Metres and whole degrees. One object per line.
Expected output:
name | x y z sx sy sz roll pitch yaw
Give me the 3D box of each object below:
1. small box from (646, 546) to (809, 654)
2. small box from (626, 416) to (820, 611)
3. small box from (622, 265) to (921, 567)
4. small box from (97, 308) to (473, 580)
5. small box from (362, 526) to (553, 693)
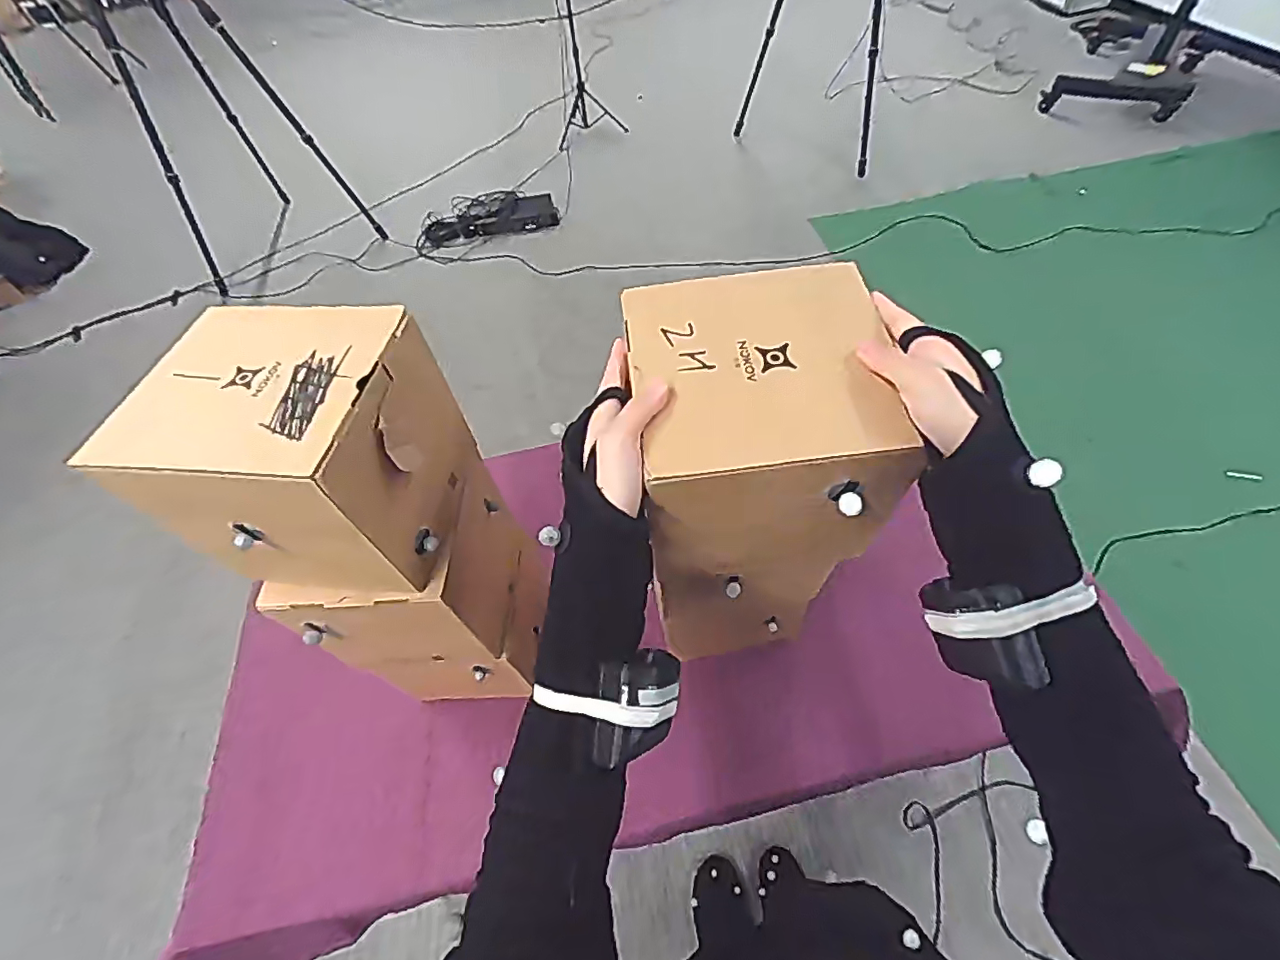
small box | 0.103 0.116 0.730 0.179 0.176 0.168 -12 53 -2
small box | 0.090 0.030 0.586 0.179 0.176 0.168 -10 58 -1
small box | 0.085 -0.042 0.438 0.179 0.176 0.168 -8 58 1
small box | -0.266 -0.025 0.463 0.179 0.176 0.168 2 53 7
small box | -0.224 0.178 0.719 0.179 0.176 0.168 -4 54 3
